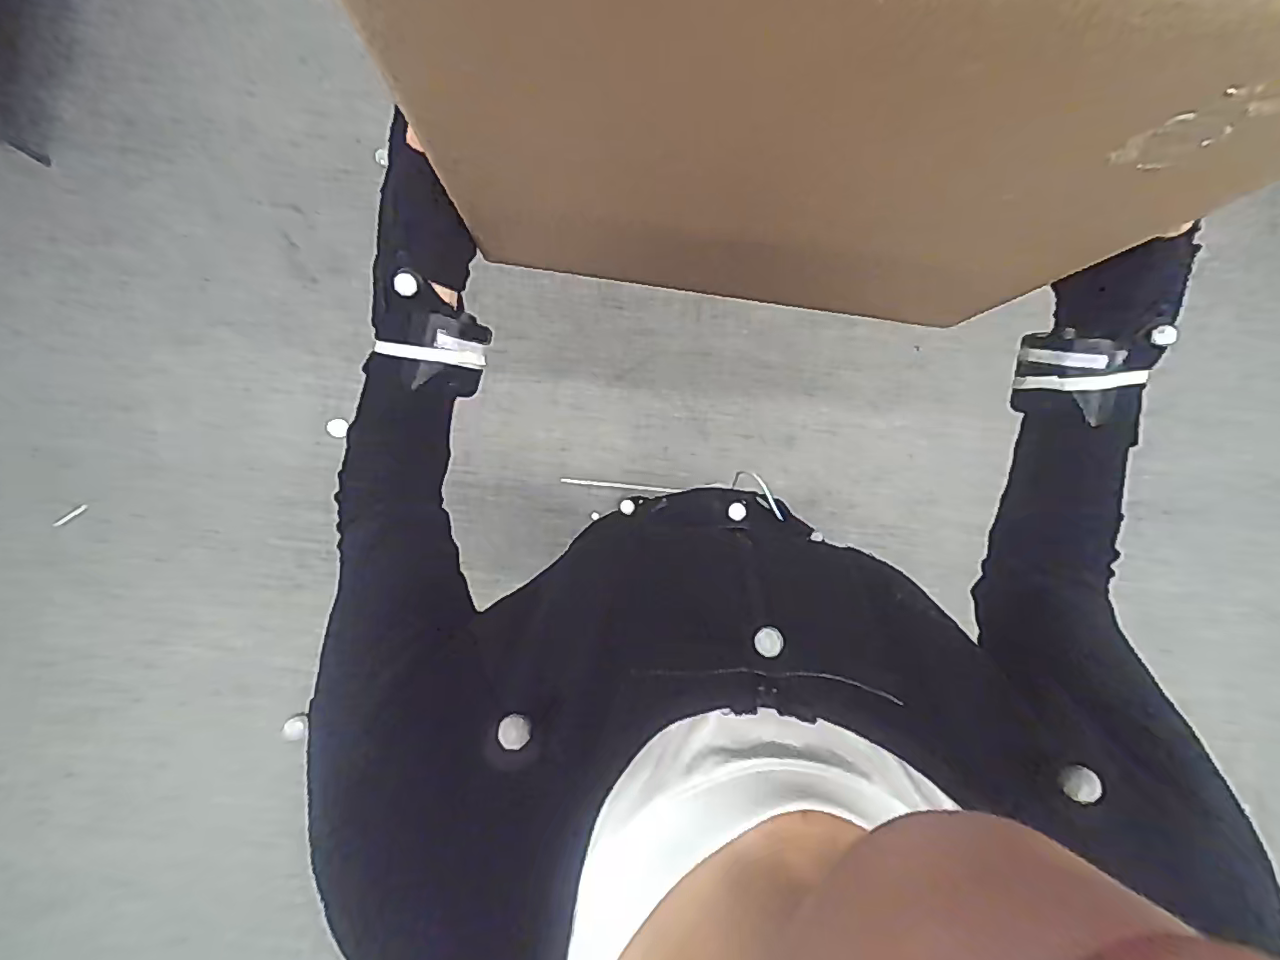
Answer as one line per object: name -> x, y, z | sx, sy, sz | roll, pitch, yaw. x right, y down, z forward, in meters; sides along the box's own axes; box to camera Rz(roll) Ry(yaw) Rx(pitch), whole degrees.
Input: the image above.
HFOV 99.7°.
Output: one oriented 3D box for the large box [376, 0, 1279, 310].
large box -> 0.098, -0.316, 0.308 | 0.408, 0.320, 0.320 | 7, 90, -4
